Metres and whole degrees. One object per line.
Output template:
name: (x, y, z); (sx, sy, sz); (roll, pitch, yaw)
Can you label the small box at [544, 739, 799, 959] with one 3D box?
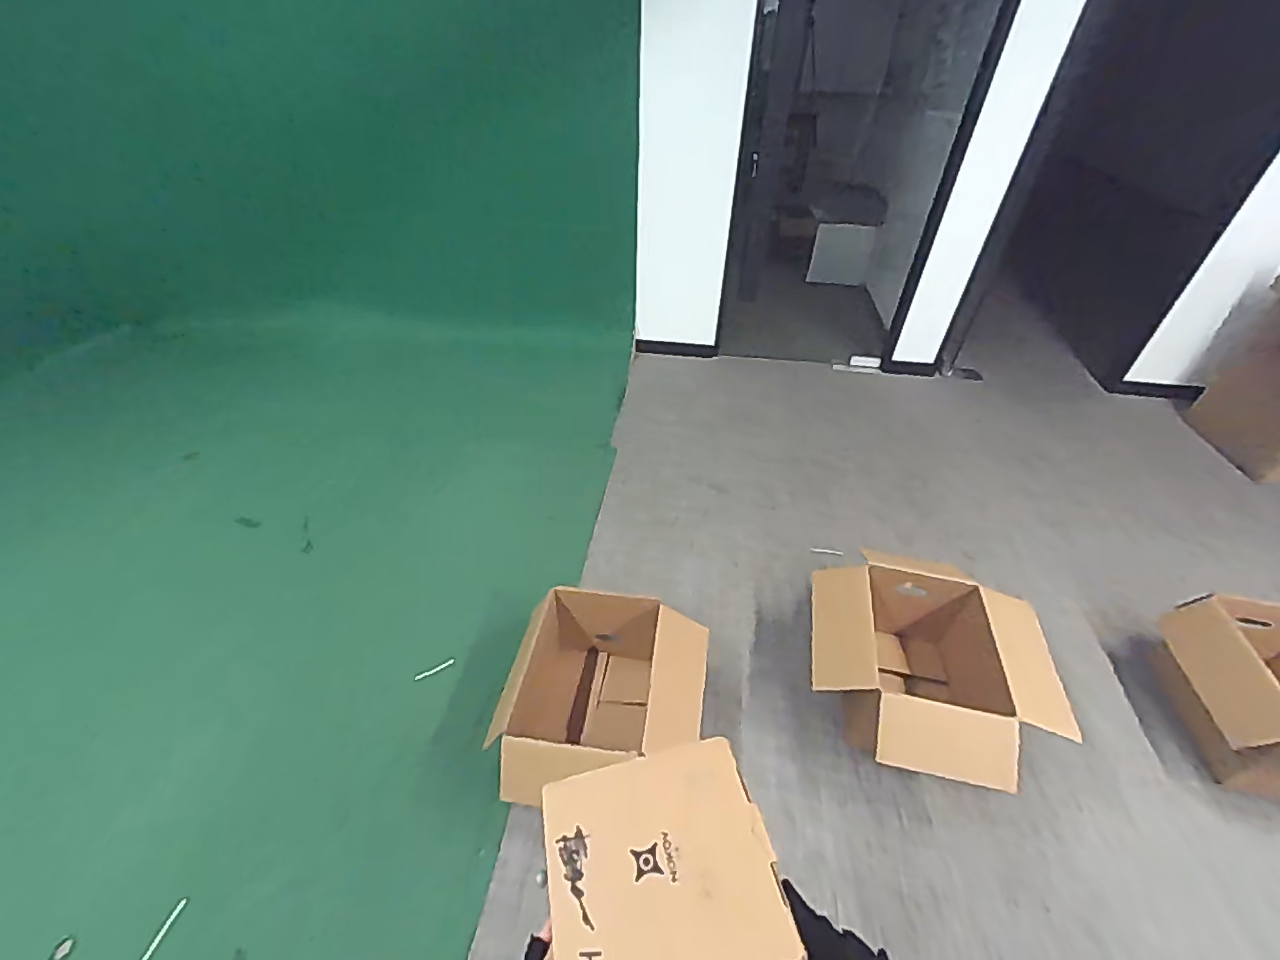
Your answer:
small box: (0.018, 0.366, 0.479); (0.179, 0.176, 0.168); (-10, 36, -7)
